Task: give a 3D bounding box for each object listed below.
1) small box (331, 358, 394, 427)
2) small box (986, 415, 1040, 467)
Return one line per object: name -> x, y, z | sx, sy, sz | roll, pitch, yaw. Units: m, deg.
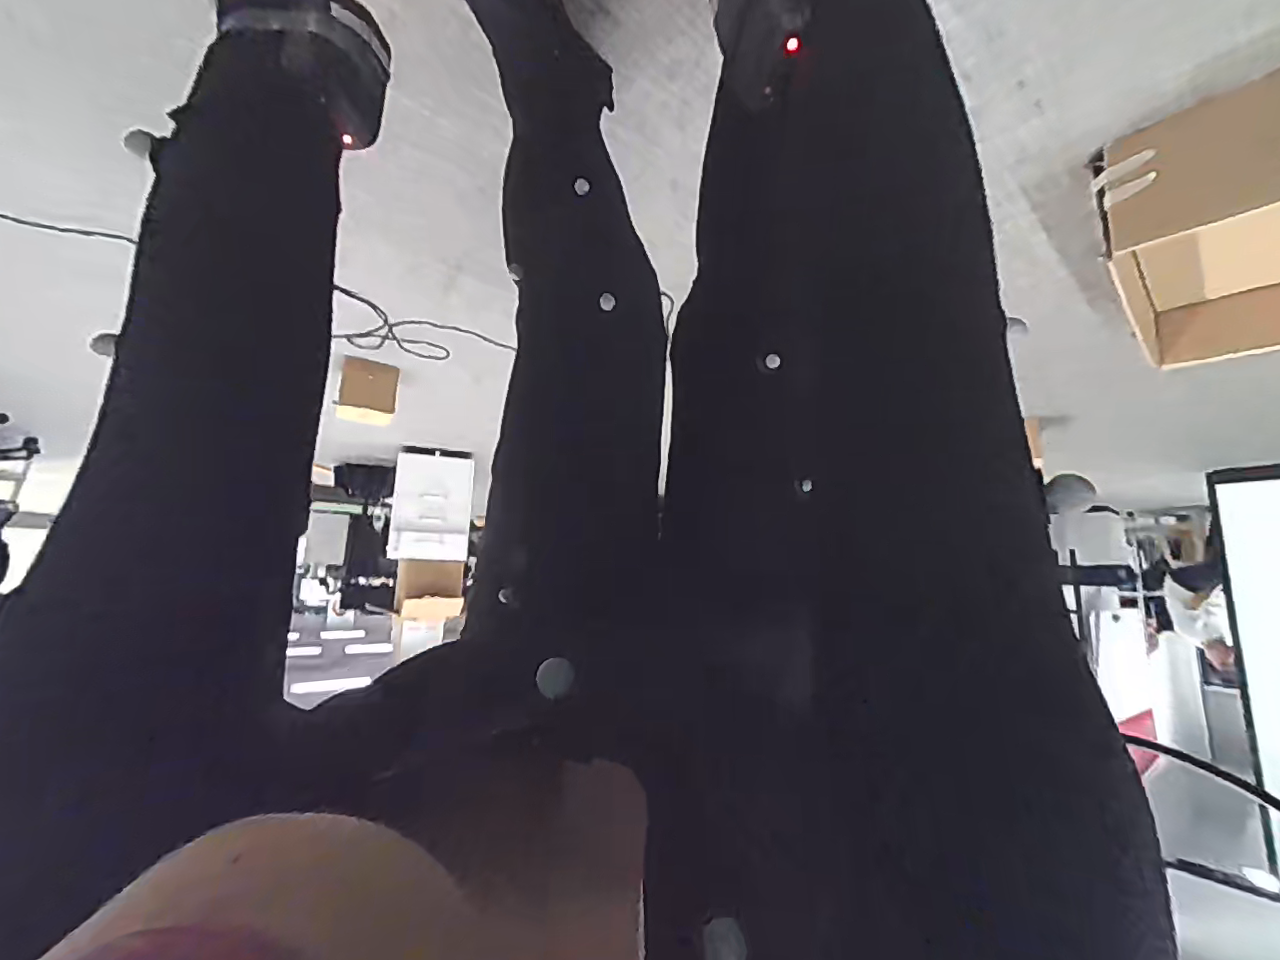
small box -> -0.931, -0.289, 1.817 | 0.168, 0.176, 0.179 | 8, 168, -31
small box -> 1.514, -0.159, 2.194 | 0.168, 0.176, 0.179 | -6, 167, 37
